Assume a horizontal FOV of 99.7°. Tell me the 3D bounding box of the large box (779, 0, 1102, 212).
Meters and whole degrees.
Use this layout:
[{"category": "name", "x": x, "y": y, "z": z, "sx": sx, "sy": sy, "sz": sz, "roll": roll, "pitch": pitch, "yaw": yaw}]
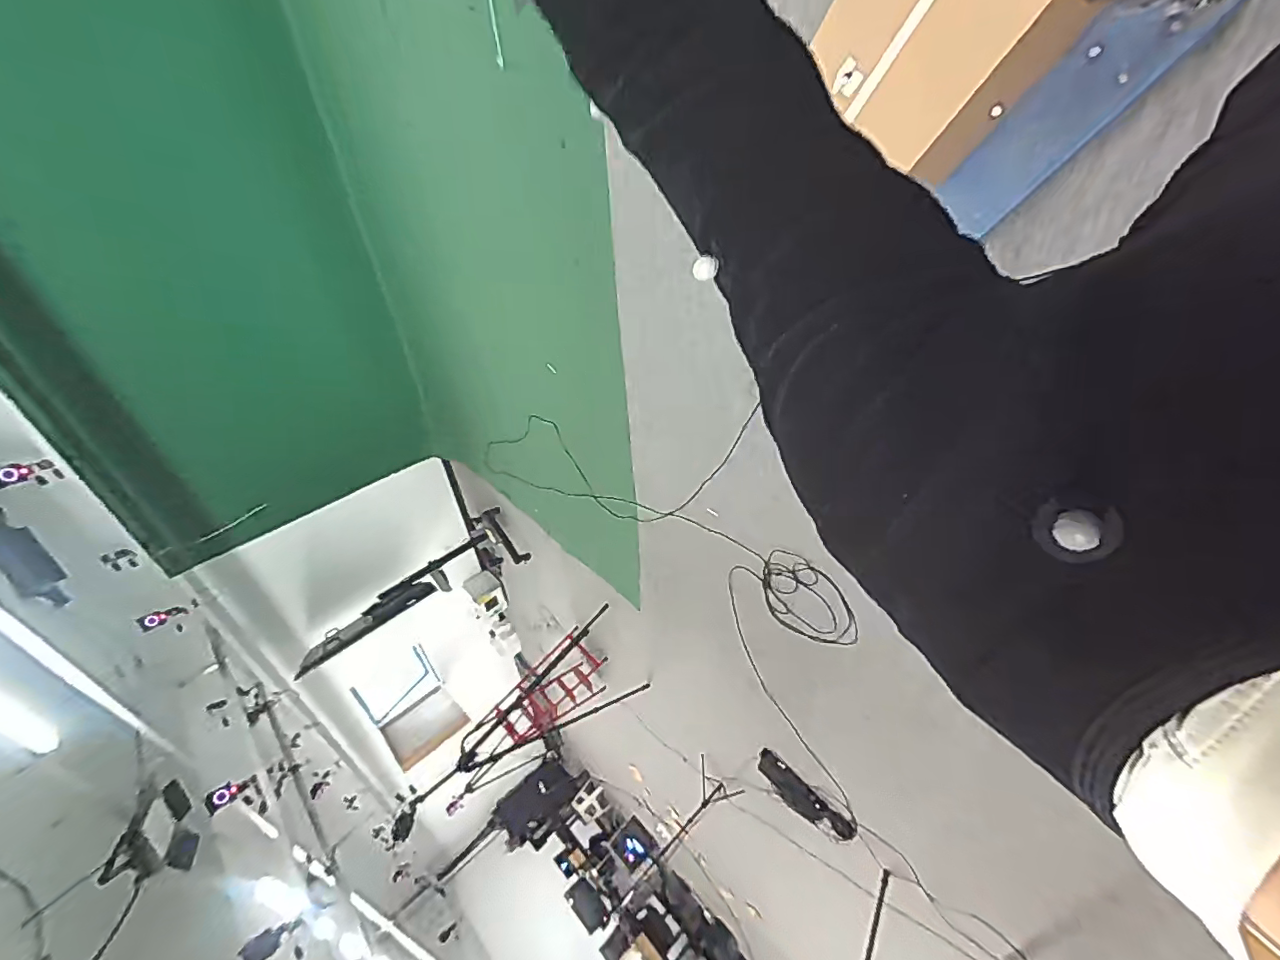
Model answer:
[{"category": "large box", "x": 0.549, "y": -0.806, "z": 1.012, "sx": 0.320, "sy": 0.320, "sz": 0.408, "roll": 53, "pitch": 149, "yaw": 9}]
